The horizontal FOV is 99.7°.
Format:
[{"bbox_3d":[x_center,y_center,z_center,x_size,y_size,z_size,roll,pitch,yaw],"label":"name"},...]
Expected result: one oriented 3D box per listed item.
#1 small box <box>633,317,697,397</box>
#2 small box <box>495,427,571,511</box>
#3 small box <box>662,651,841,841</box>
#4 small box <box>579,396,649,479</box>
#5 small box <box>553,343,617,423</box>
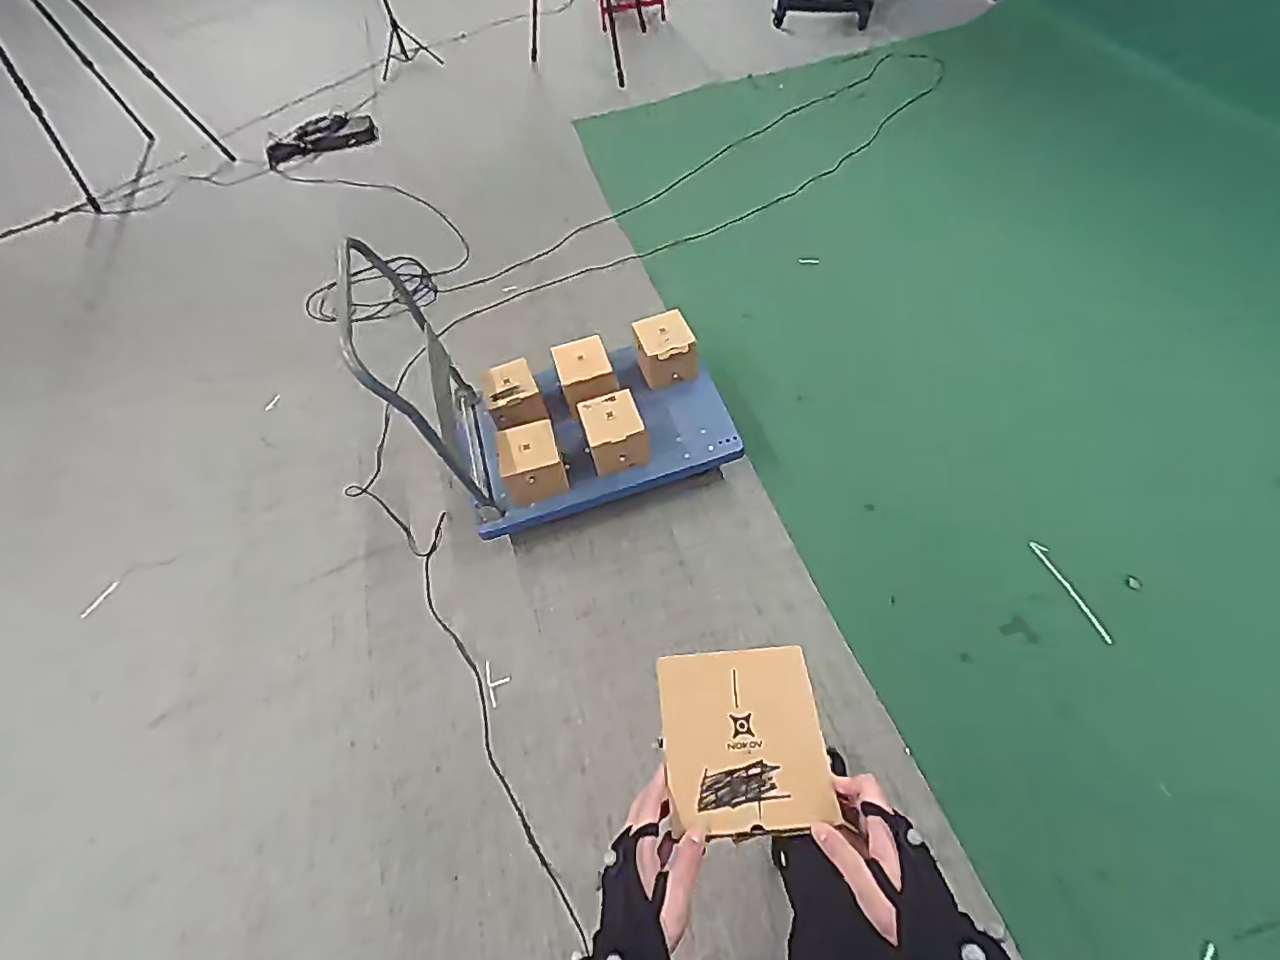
[{"bbox_3d":[0.085,-0.412,1.821,0.168,0.176,0.179,-19,58,-5],"label":"small box"},{"bbox_3d":[-0.318,-0.028,1.624,0.179,0.176,0.168,-15,57,-5],"label":"small box"},{"bbox_3d":[0.116,0.319,0.642,0.168,0.176,0.179,-4,55,-1],"label":"small box"},{"bbox_3d":[-0.077,-0.121,1.654,0.168,0.176,0.179,-17,58,-5],"label":"small box"},{"bbox_3d":[-0.178,-0.319,1.796,0.168,0.176,0.179,-18,59,-5],"label":"small box"}]
